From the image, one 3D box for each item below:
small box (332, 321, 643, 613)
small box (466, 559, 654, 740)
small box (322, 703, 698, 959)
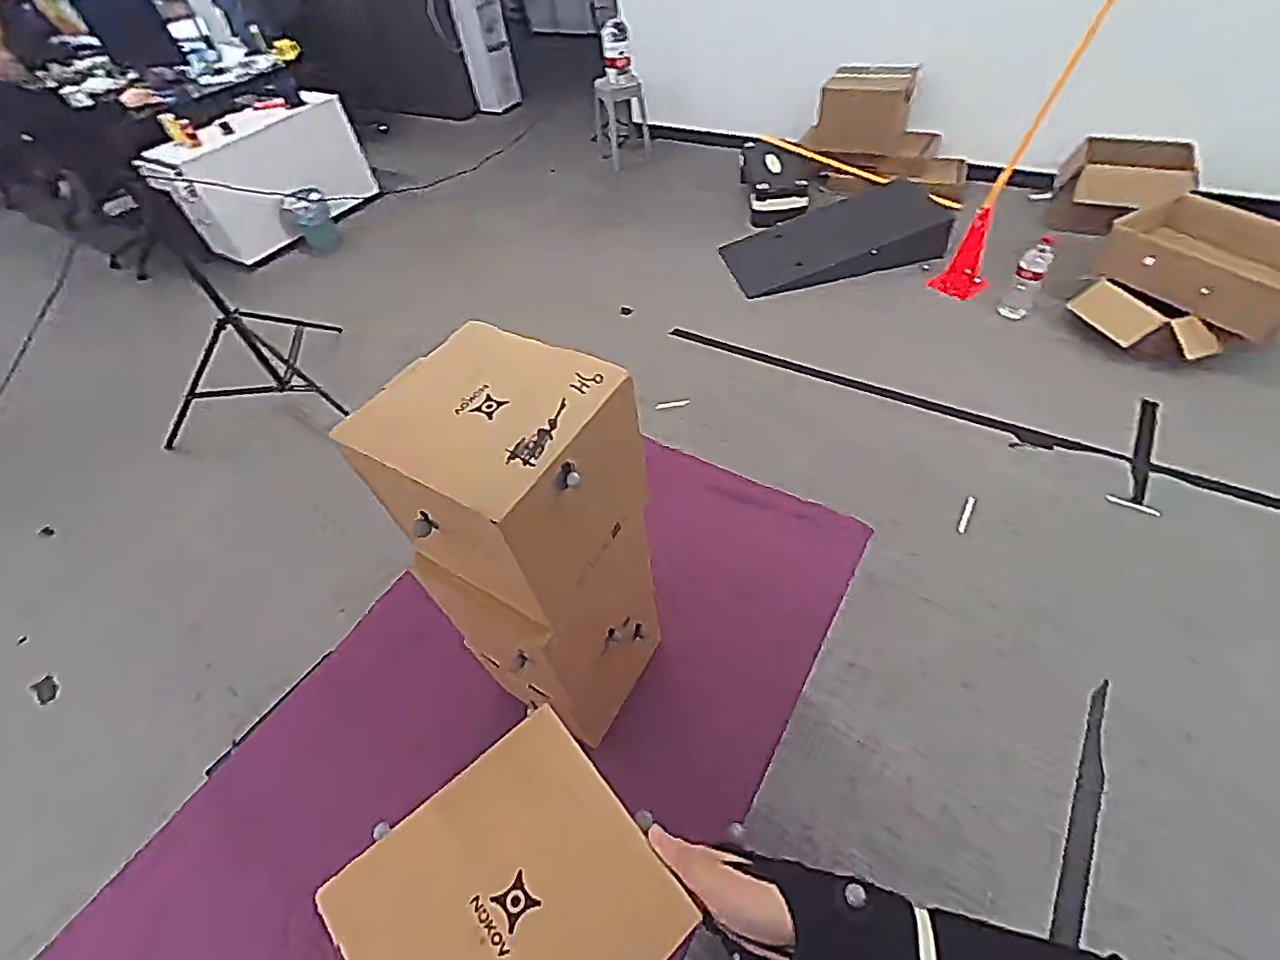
[{"bbox_3d":[-0.115,-0.010,0.479,0.179,0.176,0.168,22,57,23],"label":"small box"},{"bbox_3d":[-0.092,0.209,0.723,0.168,0.176,0.179,22,58,24],"label":"small box"},{"bbox_3d":[-0.083,0.300,0.400,0.179,0.176,0.168,-36,65,-21],"label":"small box"}]
